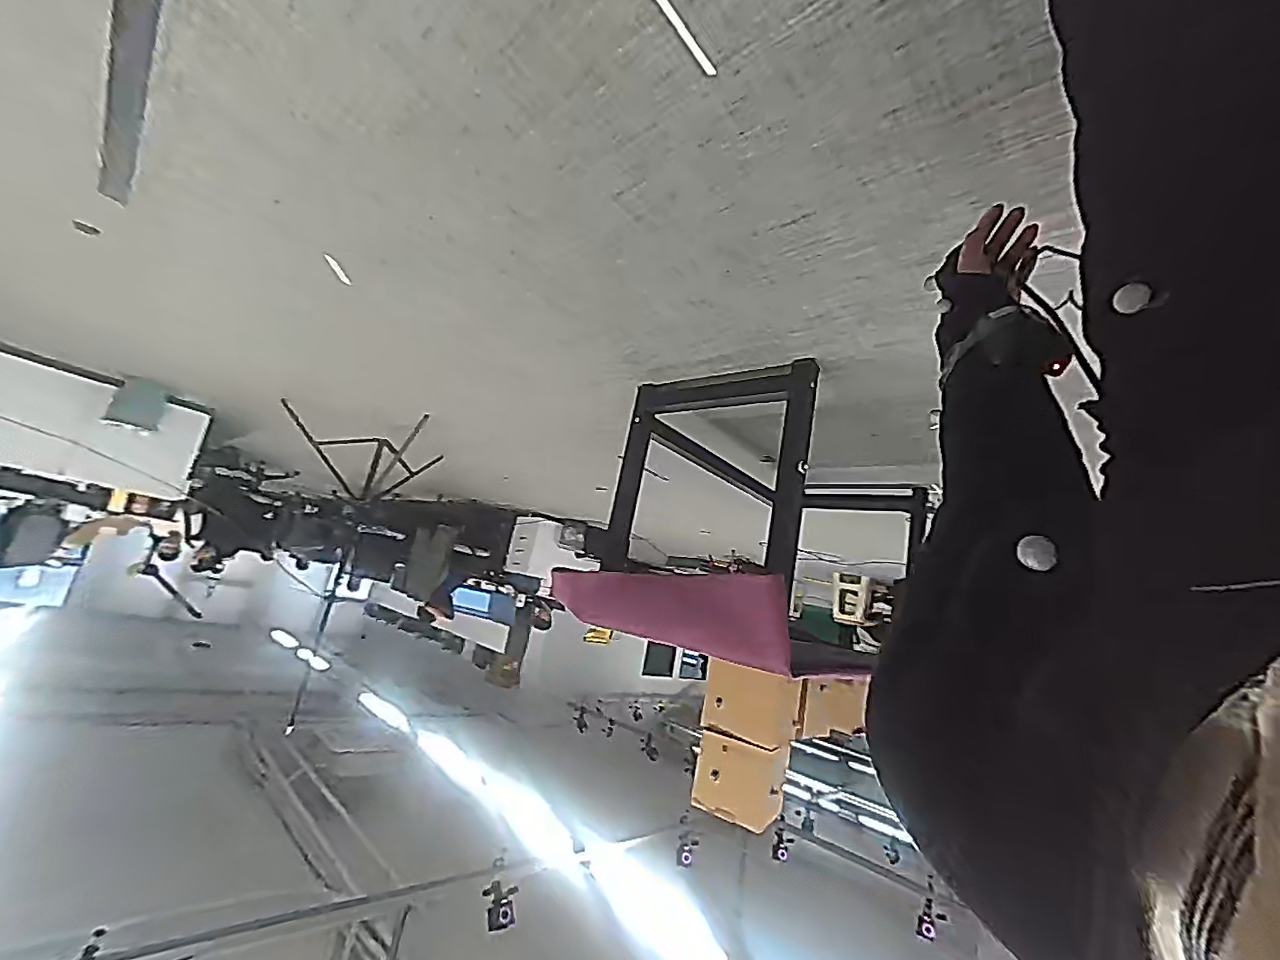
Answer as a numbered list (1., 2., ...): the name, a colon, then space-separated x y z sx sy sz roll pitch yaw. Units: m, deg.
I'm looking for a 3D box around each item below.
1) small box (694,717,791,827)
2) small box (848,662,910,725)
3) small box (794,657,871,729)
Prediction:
1. small box: 0.243 0.665 1.259 0.168 0.176 0.179 6 169 31
2. small box: 0.824 0.736 1.877 0.168 0.176 0.179 -1 163 44
3. small box: 0.597 0.648 1.660 0.179 0.176 0.168 -1 163 45
